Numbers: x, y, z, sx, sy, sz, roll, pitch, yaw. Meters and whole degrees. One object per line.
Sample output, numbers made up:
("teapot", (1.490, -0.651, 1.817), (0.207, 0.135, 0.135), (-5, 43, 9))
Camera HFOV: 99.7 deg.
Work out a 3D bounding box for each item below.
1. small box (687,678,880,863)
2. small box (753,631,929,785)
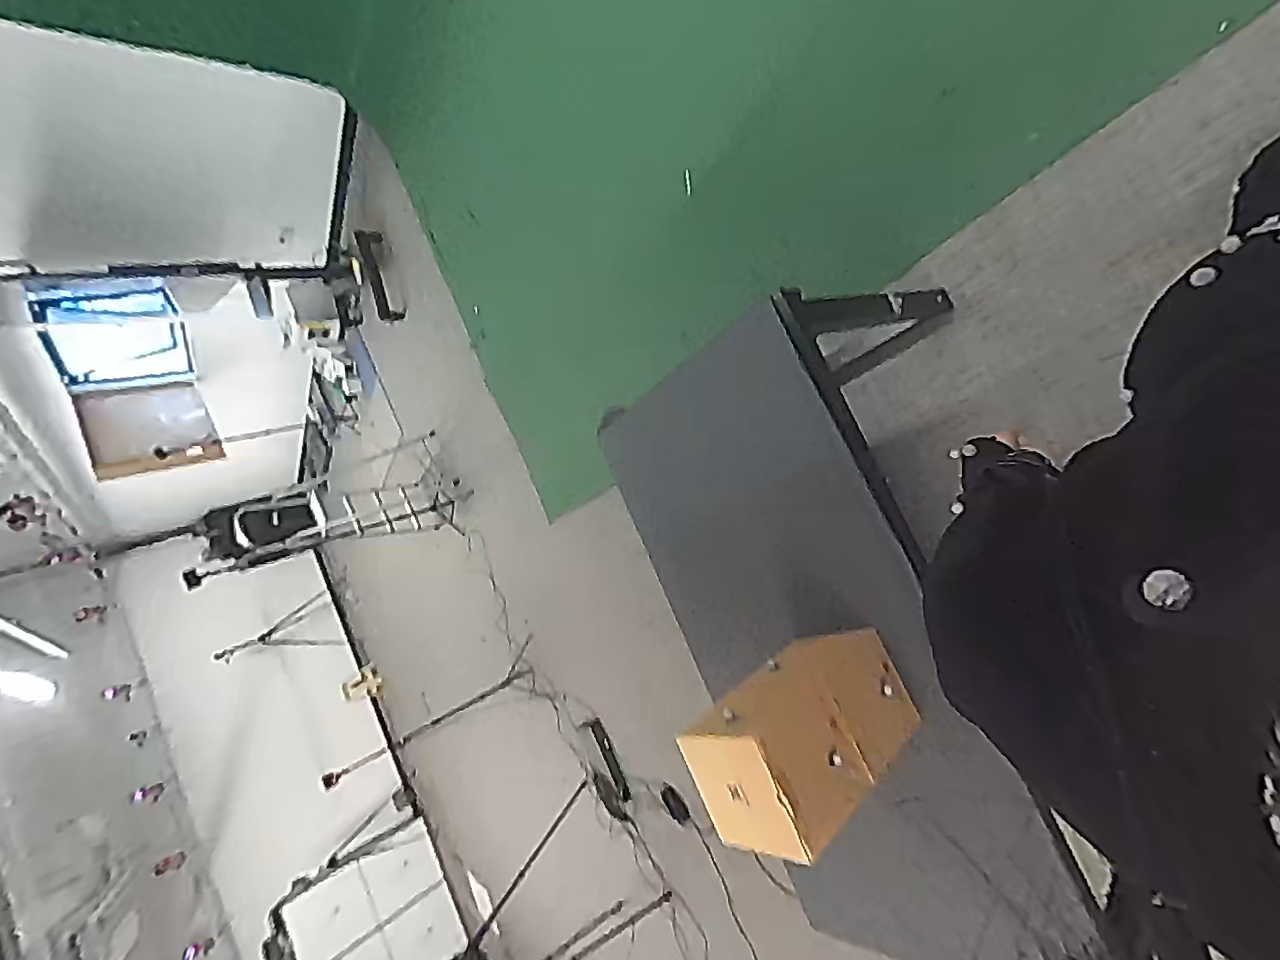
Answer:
("small box", (0.206, 0.405, 0.785), (0.179, 0.176, 0.168), (-35, 76, 51))
("small box", (0.327, 0.365, 0.885), (0.179, 0.176, 0.168), (-35, 77, 51))
